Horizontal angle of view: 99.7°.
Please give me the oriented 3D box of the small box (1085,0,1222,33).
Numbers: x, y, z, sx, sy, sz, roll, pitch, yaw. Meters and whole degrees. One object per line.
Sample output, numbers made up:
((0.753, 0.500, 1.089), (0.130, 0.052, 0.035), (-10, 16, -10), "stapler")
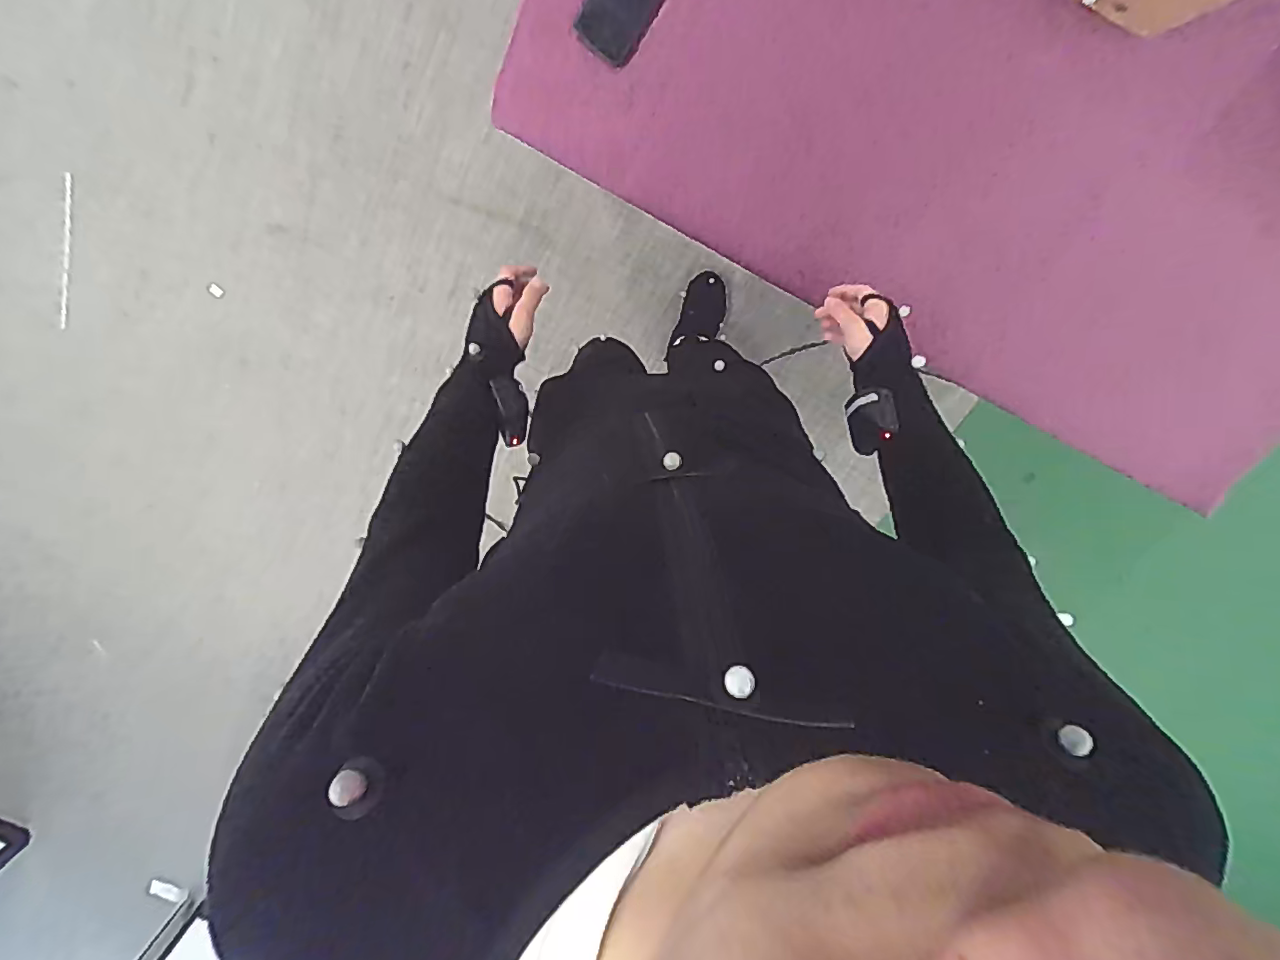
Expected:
((0.543, -0.583, 0.509), (0.168, 0.176, 0.179), (26, 113, -4), "small box")
